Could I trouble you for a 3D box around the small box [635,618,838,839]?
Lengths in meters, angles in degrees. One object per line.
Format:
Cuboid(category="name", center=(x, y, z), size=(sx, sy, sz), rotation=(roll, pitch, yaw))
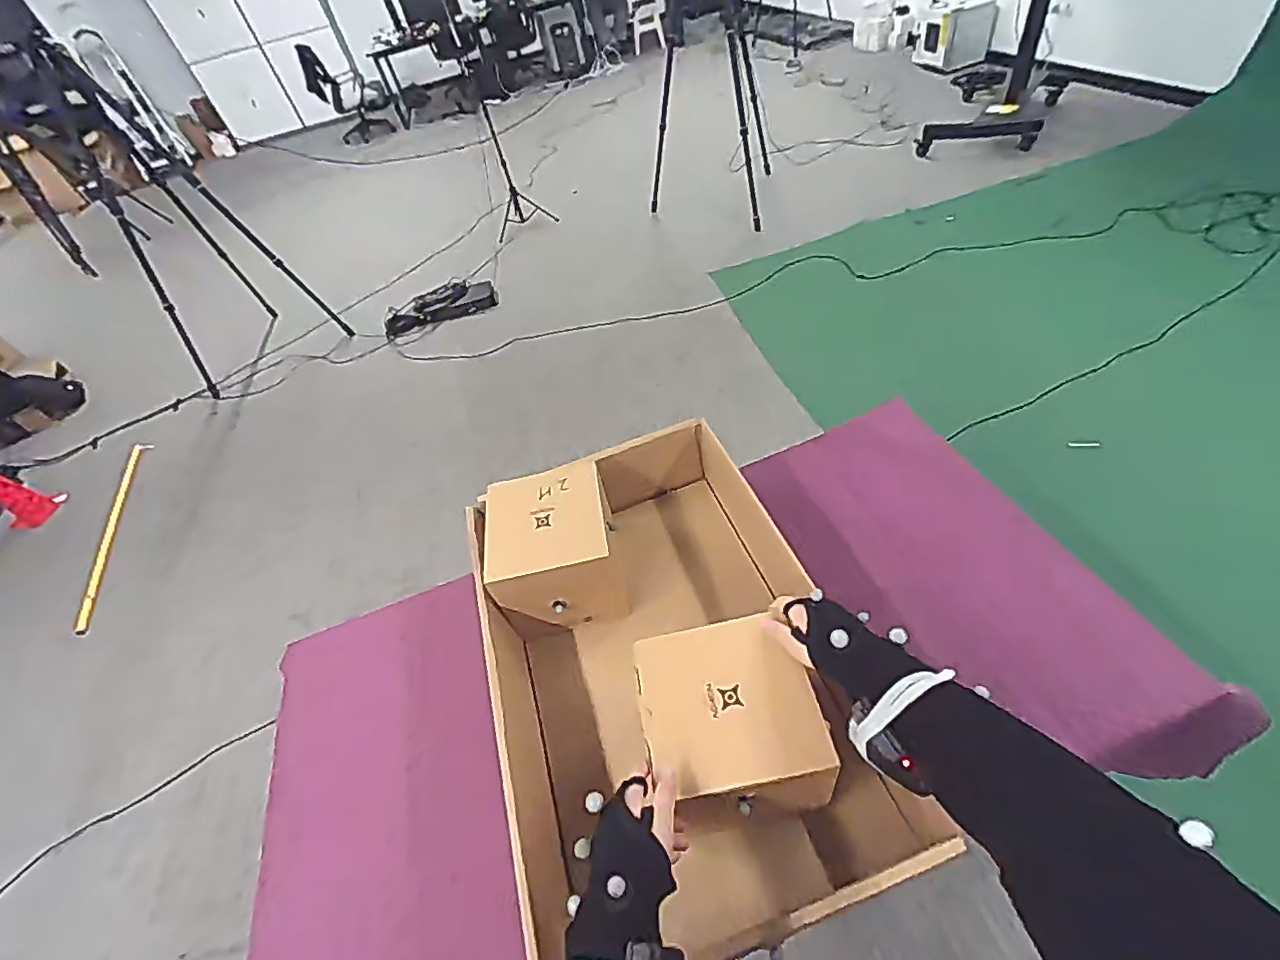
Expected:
Cuboid(category="small box", center=(0.105, 0.284, 0.612), size=(0.179, 0.176, 0.168), rotation=(-15, 46, 3))
